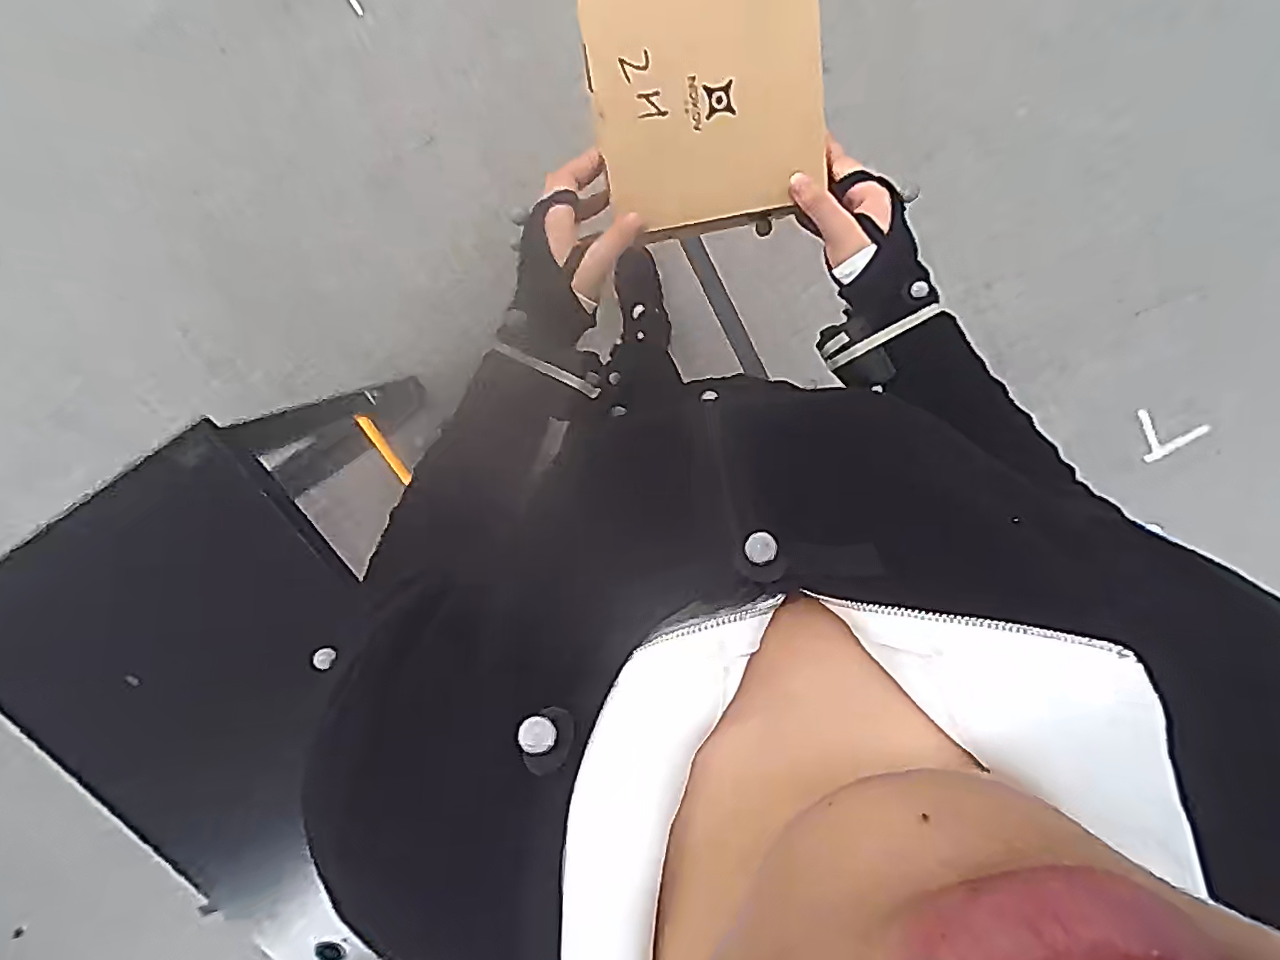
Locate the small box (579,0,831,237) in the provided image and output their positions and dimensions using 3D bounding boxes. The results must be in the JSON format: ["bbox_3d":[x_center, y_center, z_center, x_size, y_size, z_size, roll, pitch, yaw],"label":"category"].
[{"bbox_3d":[0.052,-0.318,0.475,0.179,0.176,0.168,-8,110,4],"label":"small box"}]
